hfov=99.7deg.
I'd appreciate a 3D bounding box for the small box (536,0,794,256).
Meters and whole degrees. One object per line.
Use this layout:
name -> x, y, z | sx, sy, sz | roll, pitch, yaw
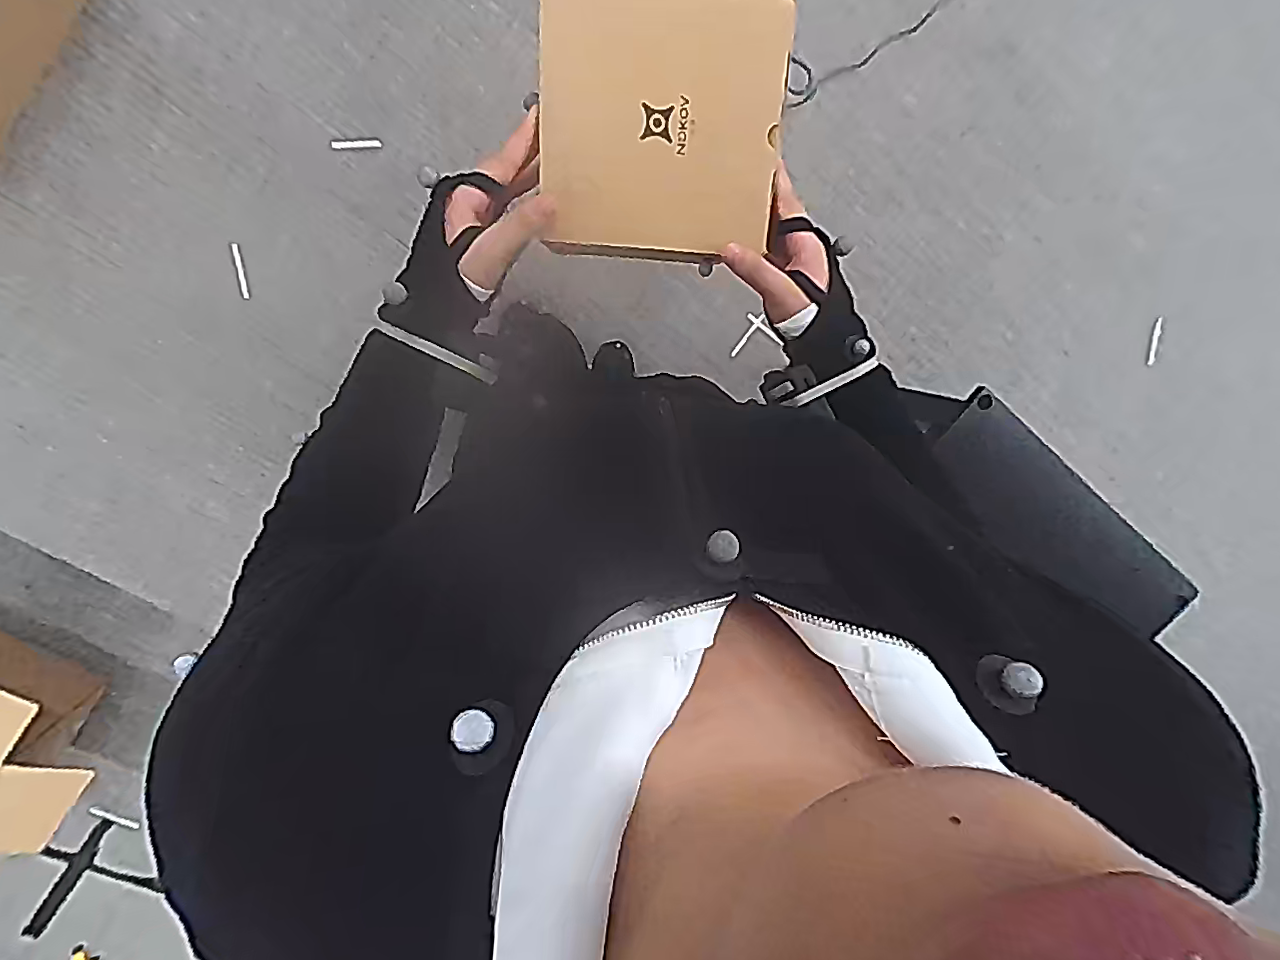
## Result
small box -> 0.005, -0.286, 0.460 | 0.179, 0.176, 0.168 | 0, 111, -9
